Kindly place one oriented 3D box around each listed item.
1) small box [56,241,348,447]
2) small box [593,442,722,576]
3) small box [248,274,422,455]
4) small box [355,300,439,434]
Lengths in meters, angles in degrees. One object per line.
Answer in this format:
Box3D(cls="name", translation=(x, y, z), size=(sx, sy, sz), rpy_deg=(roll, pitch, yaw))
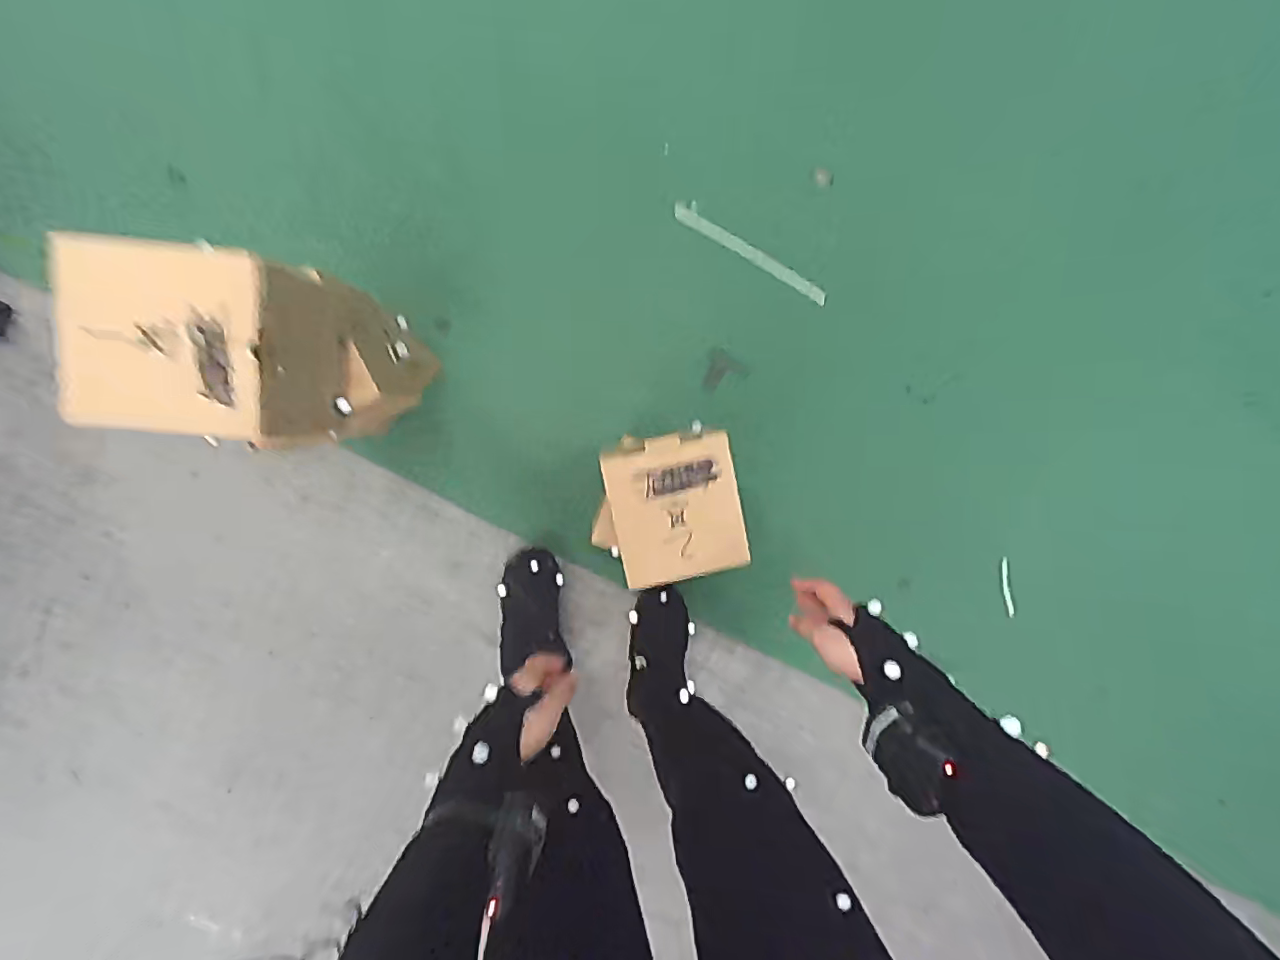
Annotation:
Box3D(cls="small box", translation=(-0.428, -0.130, 0.561), size=(0.179, 0.176, 0.168), rpy_deg=(5, 98, -3))
Box3D(cls="small box", translation=(0.022, 0.040, 0.933), size=(0.168, 0.176, 0.179), rpy_deg=(19, 95, -5))
Box3D(cls="small box", translation=(-0.428, -0.146, 0.725), size=(0.179, 0.176, 0.168), rpy_deg=(-25, 99, -1))
Box3D(cls="small box", translation=(-0.462, -0.185, 0.882), size=(0.168, 0.176, 0.179), rpy_deg=(45, 93, -8))
